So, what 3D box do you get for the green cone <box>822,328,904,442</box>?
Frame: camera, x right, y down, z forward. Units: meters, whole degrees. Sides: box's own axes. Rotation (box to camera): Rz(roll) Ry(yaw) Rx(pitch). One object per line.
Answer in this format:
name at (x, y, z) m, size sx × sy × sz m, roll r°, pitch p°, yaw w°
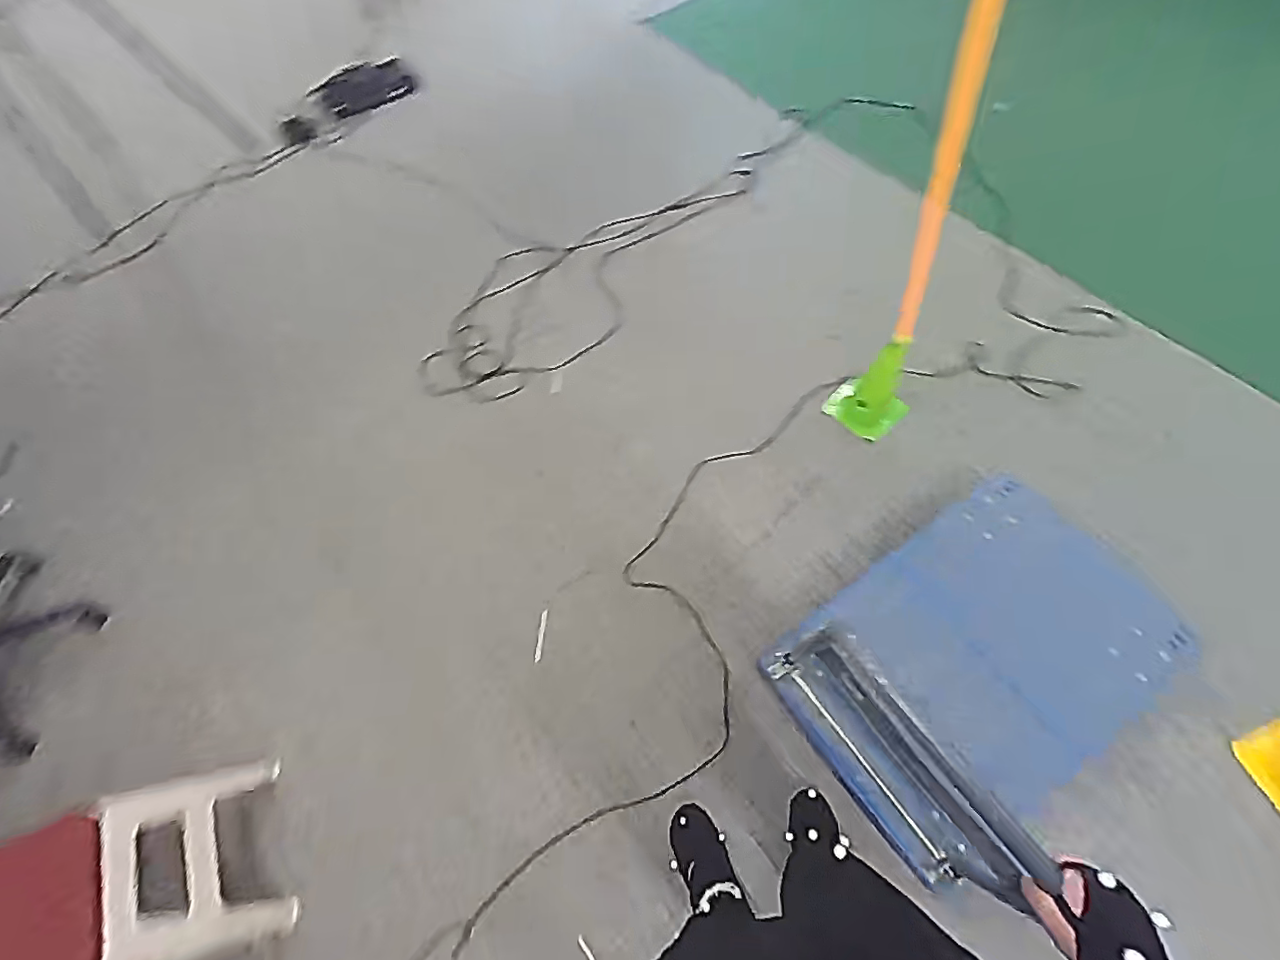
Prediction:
green cone at (0.713, -0.313, 1.618) m, size 0.200 × 0.368 × 0.202 m, roll -41°, pitch 66°, yaw -15°
